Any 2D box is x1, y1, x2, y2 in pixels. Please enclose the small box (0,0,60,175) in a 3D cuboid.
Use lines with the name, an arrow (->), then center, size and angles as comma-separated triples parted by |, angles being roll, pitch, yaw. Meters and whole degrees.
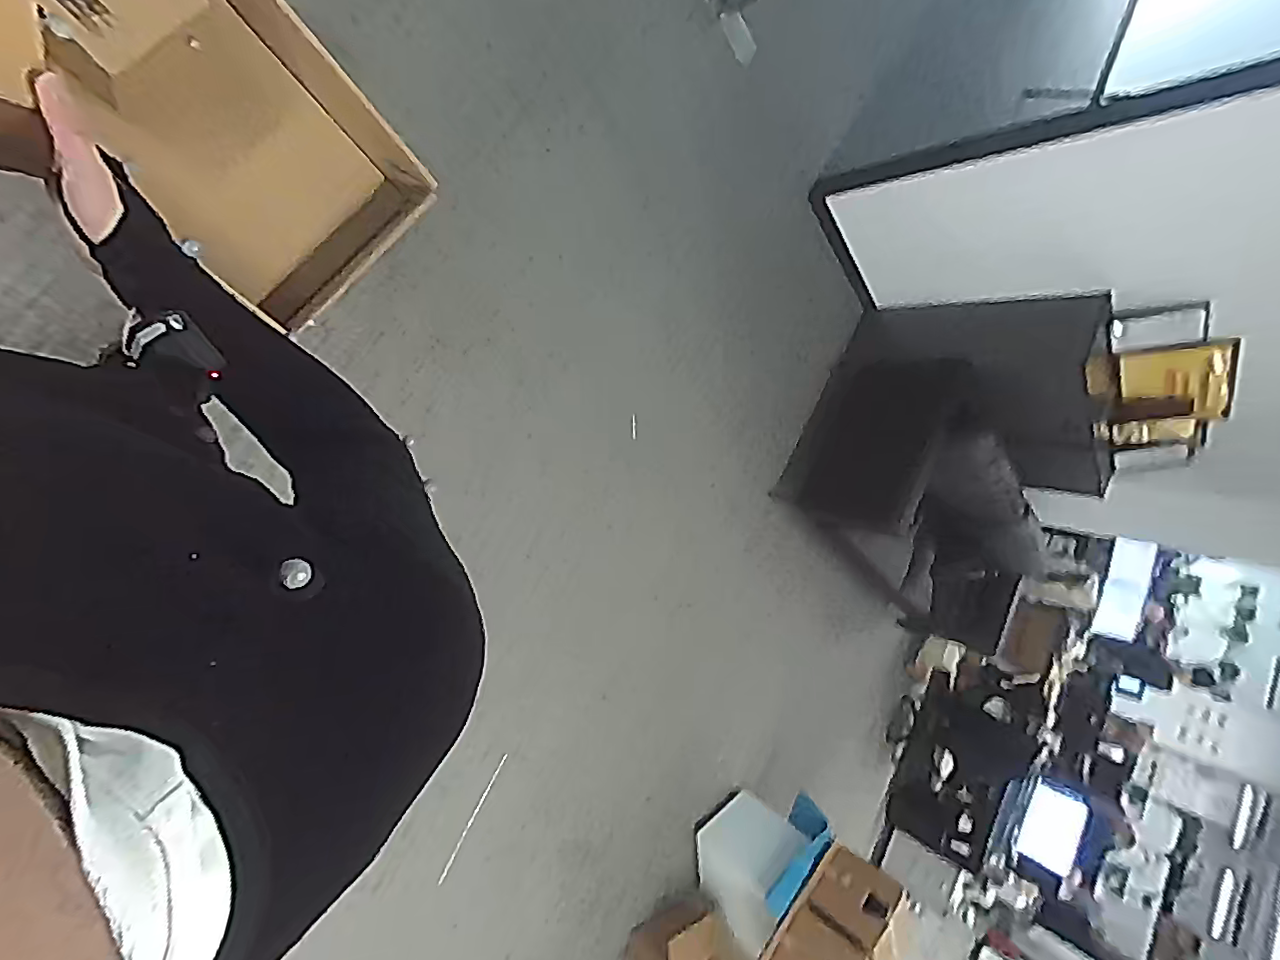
small box -> -0.544, -0.350, 0.382 | 0.168, 0.176, 0.179 | -8, 104, -47
